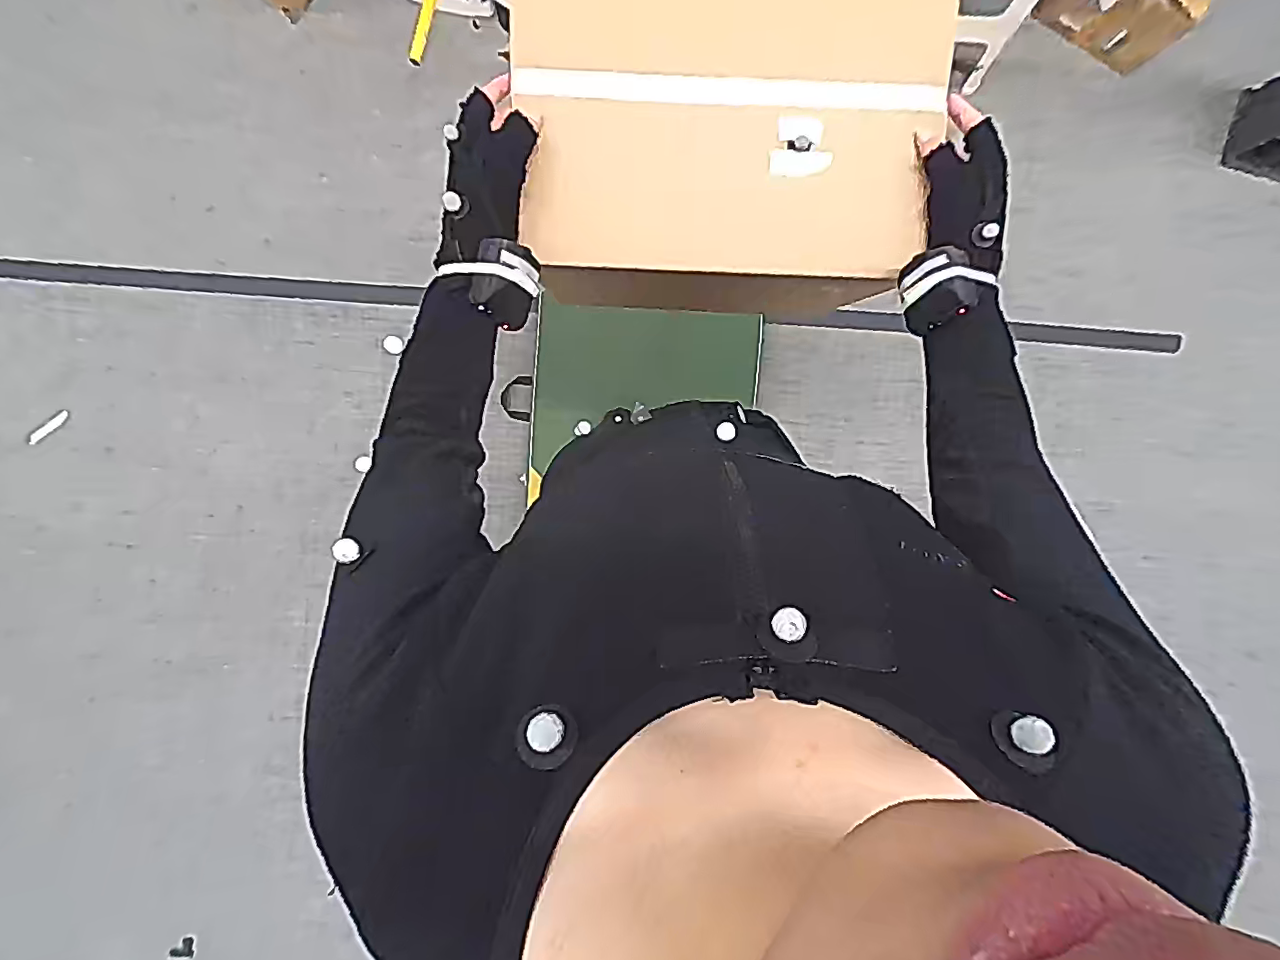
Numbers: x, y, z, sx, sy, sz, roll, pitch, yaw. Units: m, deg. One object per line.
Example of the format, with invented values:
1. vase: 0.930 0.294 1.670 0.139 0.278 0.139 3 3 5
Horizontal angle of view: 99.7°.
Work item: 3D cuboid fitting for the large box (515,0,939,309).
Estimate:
1. large box: 0.076 -0.392 0.665 0.408 0.320 0.320 1 101 -2
